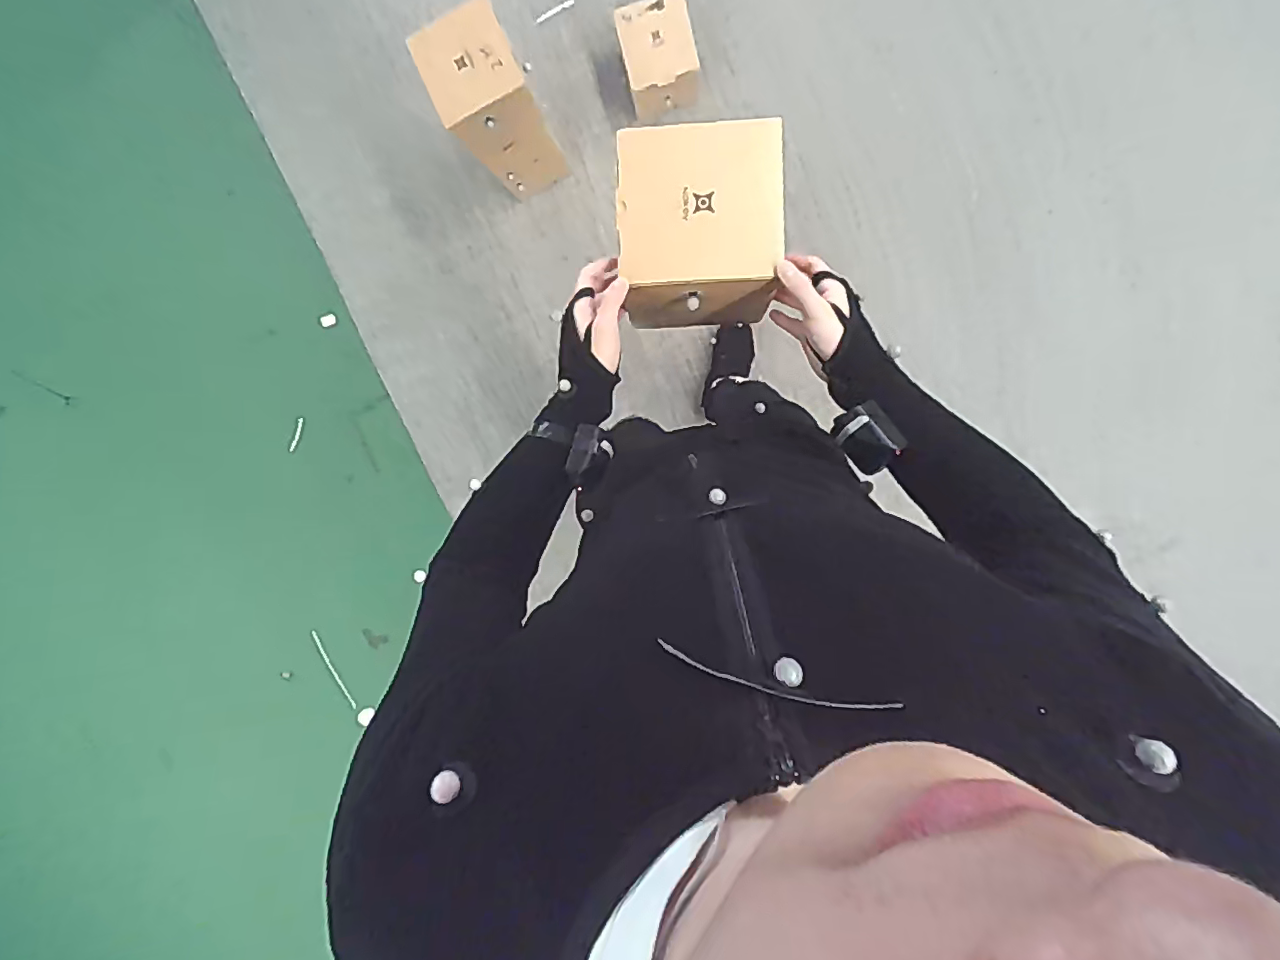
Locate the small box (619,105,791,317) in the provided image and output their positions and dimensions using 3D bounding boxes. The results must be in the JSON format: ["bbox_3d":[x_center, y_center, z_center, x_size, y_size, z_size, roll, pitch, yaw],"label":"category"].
[{"bbox_3d":[0.073,-0.300,0.639,0.179,0.176,0.168,-2,90,5],"label":"small box"}]

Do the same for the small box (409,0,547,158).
[{"bbox_3d":[-0.309,-0.778,1.068,0.179,0.176,0.168,-23,99,8],"label":"small box"}]

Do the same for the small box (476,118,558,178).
[{"bbox_3d":[-0.307,-0.819,1.228,0.168,0.176,0.179,-24,98,9],"label":"small box"}]

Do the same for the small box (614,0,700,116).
[{"bbox_3d":[0.046,-1.023,1.324,0.168,0.176,0.179,-15,101,7],"label":"small box"}]
